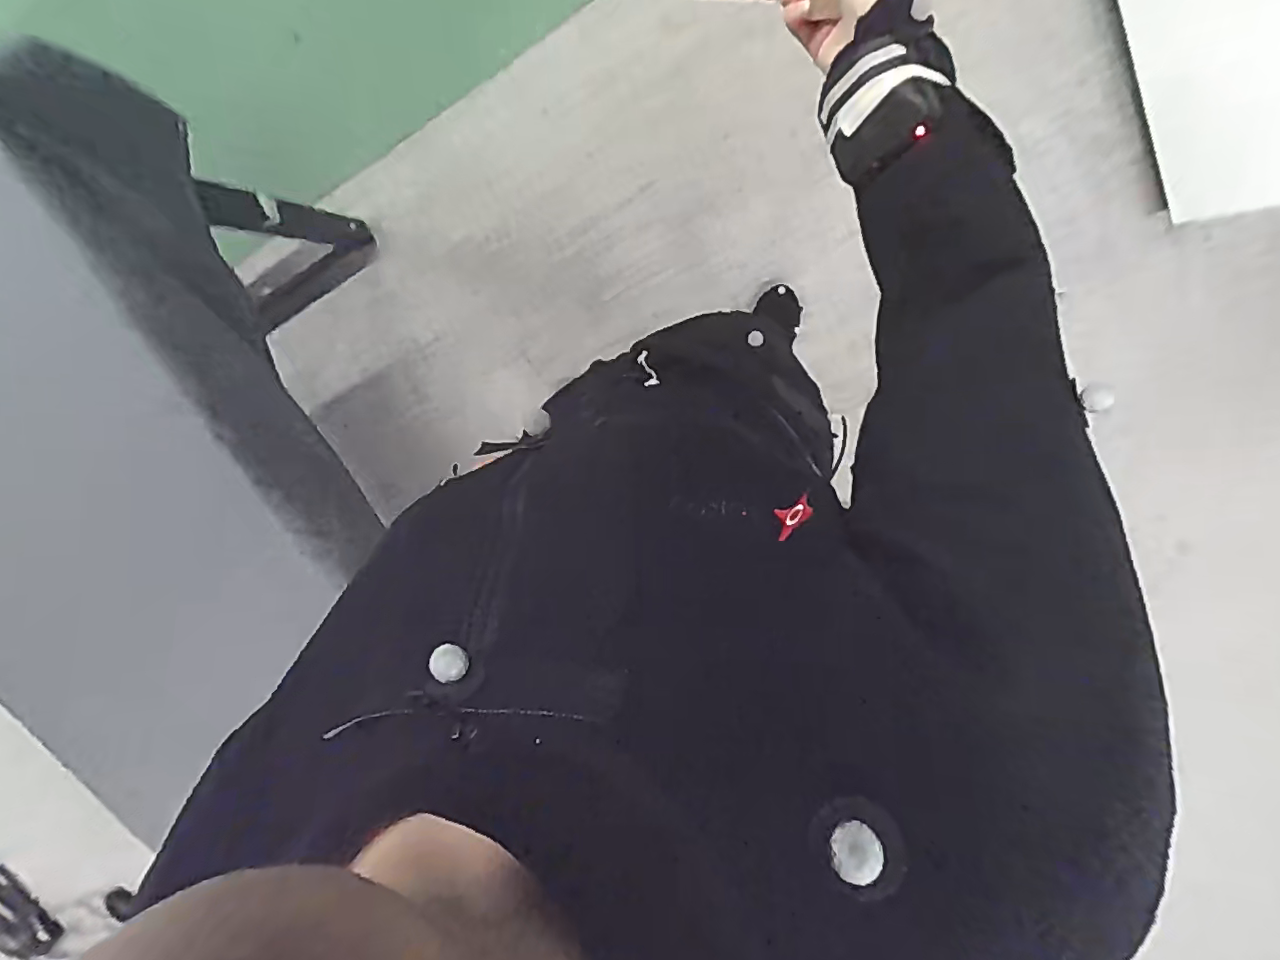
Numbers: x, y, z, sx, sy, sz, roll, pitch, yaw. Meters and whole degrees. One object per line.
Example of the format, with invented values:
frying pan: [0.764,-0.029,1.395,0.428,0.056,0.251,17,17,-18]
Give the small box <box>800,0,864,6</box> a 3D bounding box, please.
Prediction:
small box: [0.141,-0.471,0.376,0.168,0.176,0.179,-1,119,-5]
